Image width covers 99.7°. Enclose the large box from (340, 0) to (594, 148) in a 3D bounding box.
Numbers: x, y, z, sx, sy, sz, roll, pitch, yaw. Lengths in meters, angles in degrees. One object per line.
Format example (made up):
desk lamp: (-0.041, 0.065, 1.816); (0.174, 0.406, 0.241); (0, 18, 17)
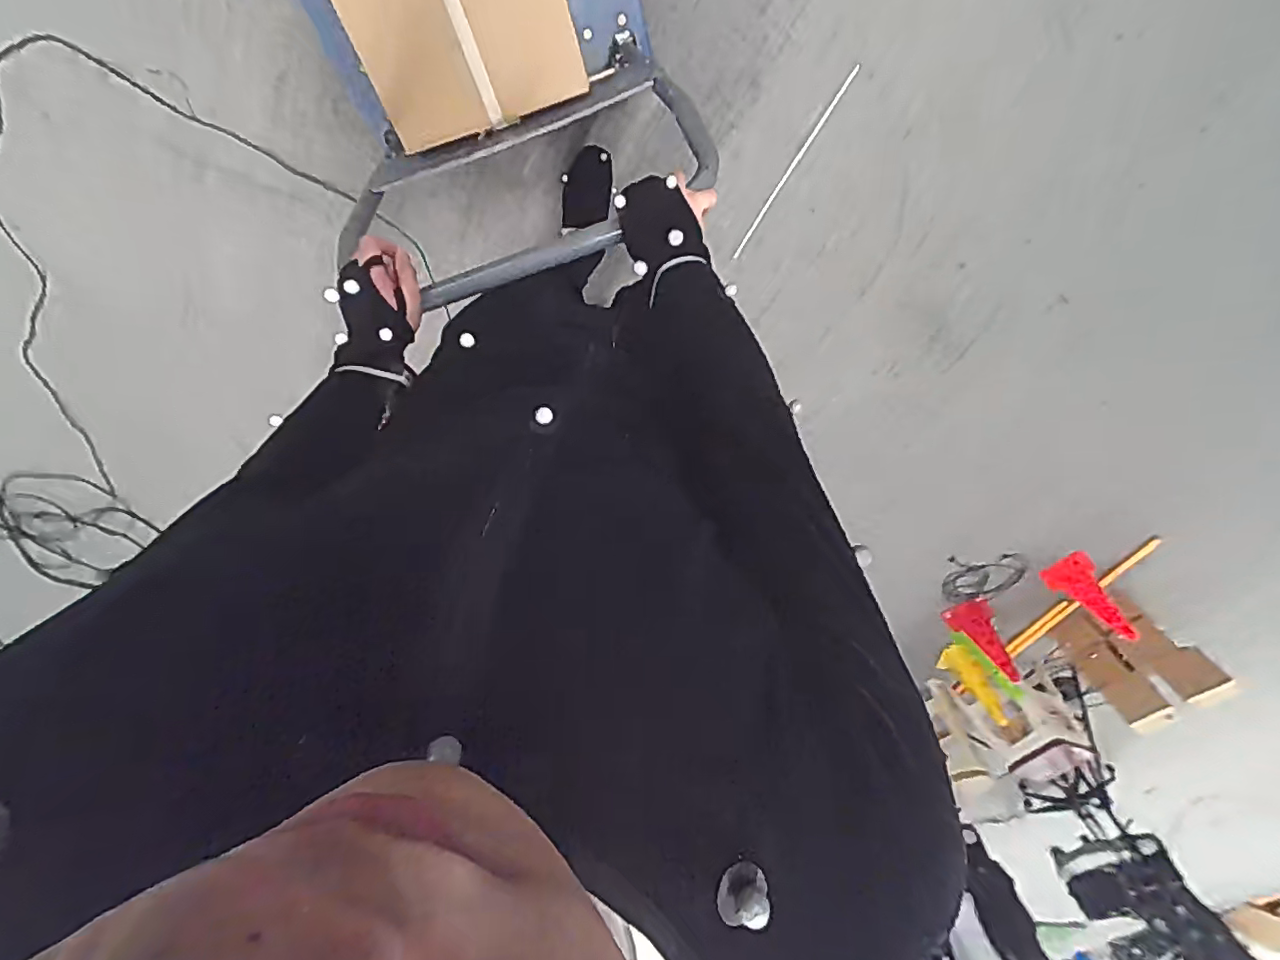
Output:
large box: (-0.285, -0.808, 0.829); (0.320, 0.320, 0.408); (-17, 132, 5)
